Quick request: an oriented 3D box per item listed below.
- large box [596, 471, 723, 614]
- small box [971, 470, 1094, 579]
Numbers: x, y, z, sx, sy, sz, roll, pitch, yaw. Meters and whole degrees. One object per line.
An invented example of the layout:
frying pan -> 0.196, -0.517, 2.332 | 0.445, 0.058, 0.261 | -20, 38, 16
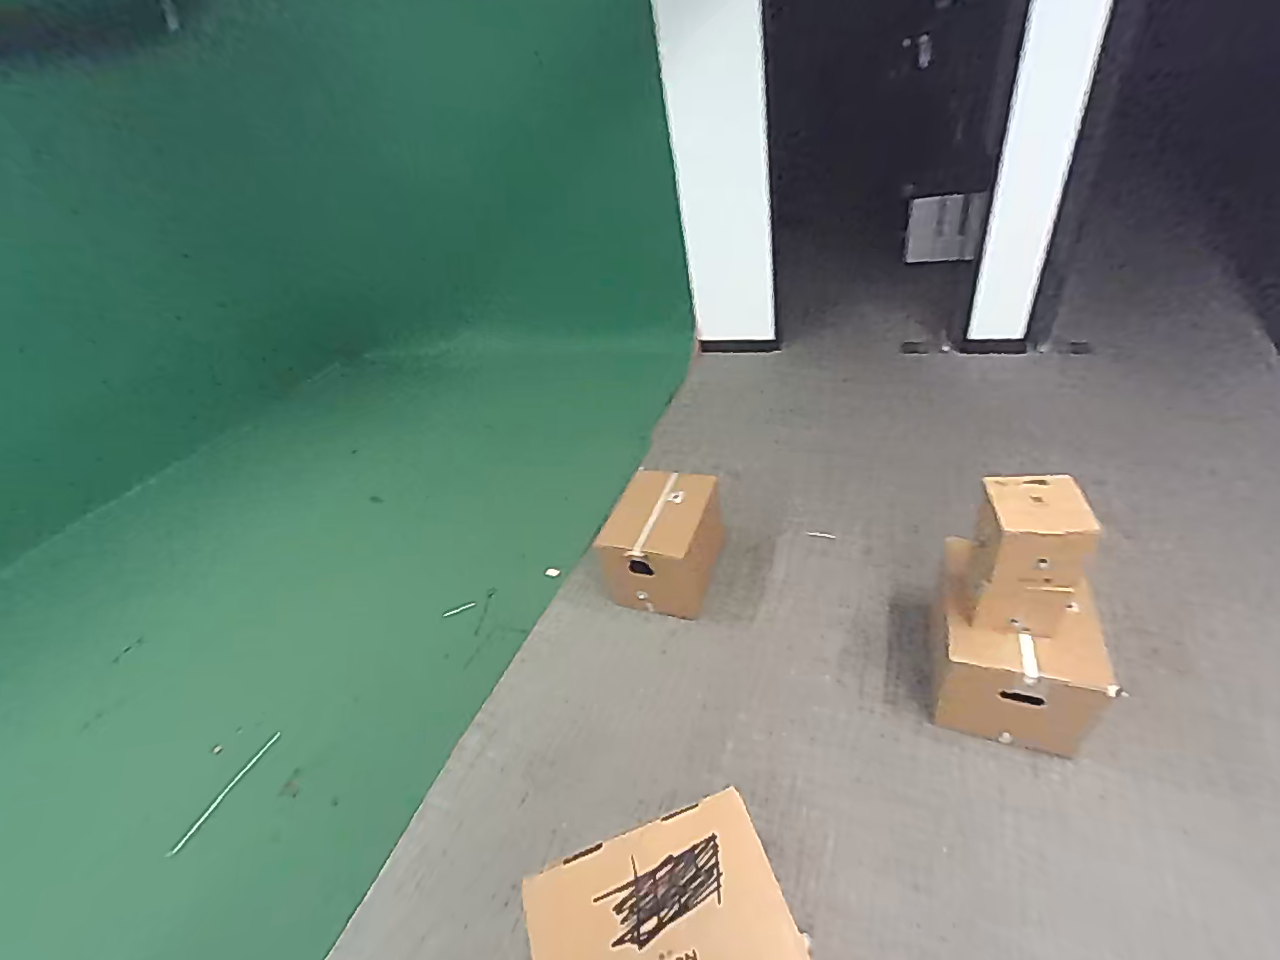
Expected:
large box -> 0.089, 0.215, 1.939 | 0.320, 0.320, 0.408 | 5, 41, 24
small box -> 0.841, 0.100, 1.178 | 0.168, 0.176, 0.179 | -2, 41, 18
